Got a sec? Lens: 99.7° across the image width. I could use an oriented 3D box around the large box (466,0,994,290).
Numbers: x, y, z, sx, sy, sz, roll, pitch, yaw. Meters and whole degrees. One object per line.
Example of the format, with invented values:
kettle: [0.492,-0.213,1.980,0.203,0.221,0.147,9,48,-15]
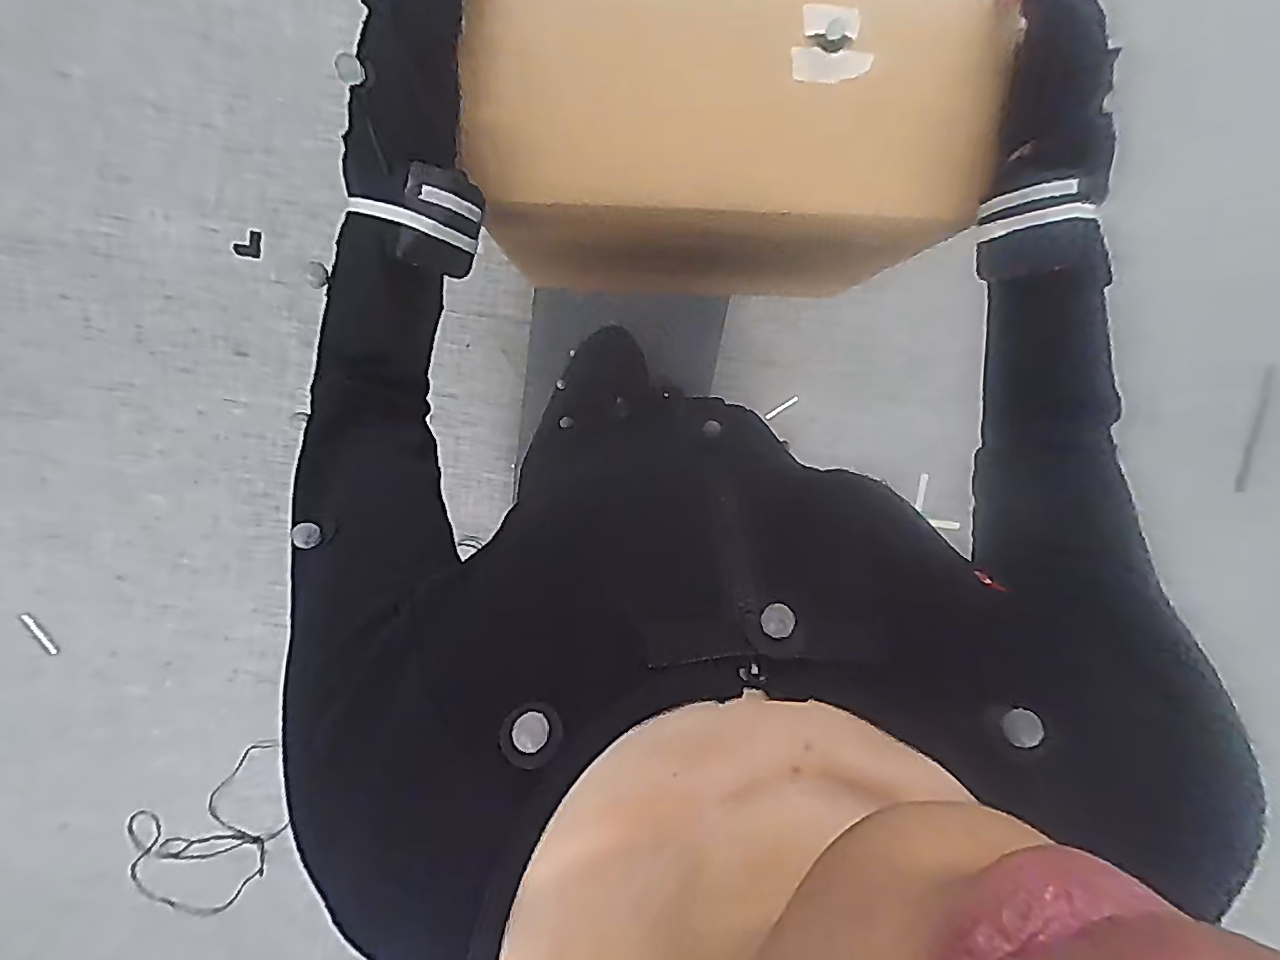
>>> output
large box: [0.062,-0.385,0.548,0.408,0.320,0.320,1,98,-3]
